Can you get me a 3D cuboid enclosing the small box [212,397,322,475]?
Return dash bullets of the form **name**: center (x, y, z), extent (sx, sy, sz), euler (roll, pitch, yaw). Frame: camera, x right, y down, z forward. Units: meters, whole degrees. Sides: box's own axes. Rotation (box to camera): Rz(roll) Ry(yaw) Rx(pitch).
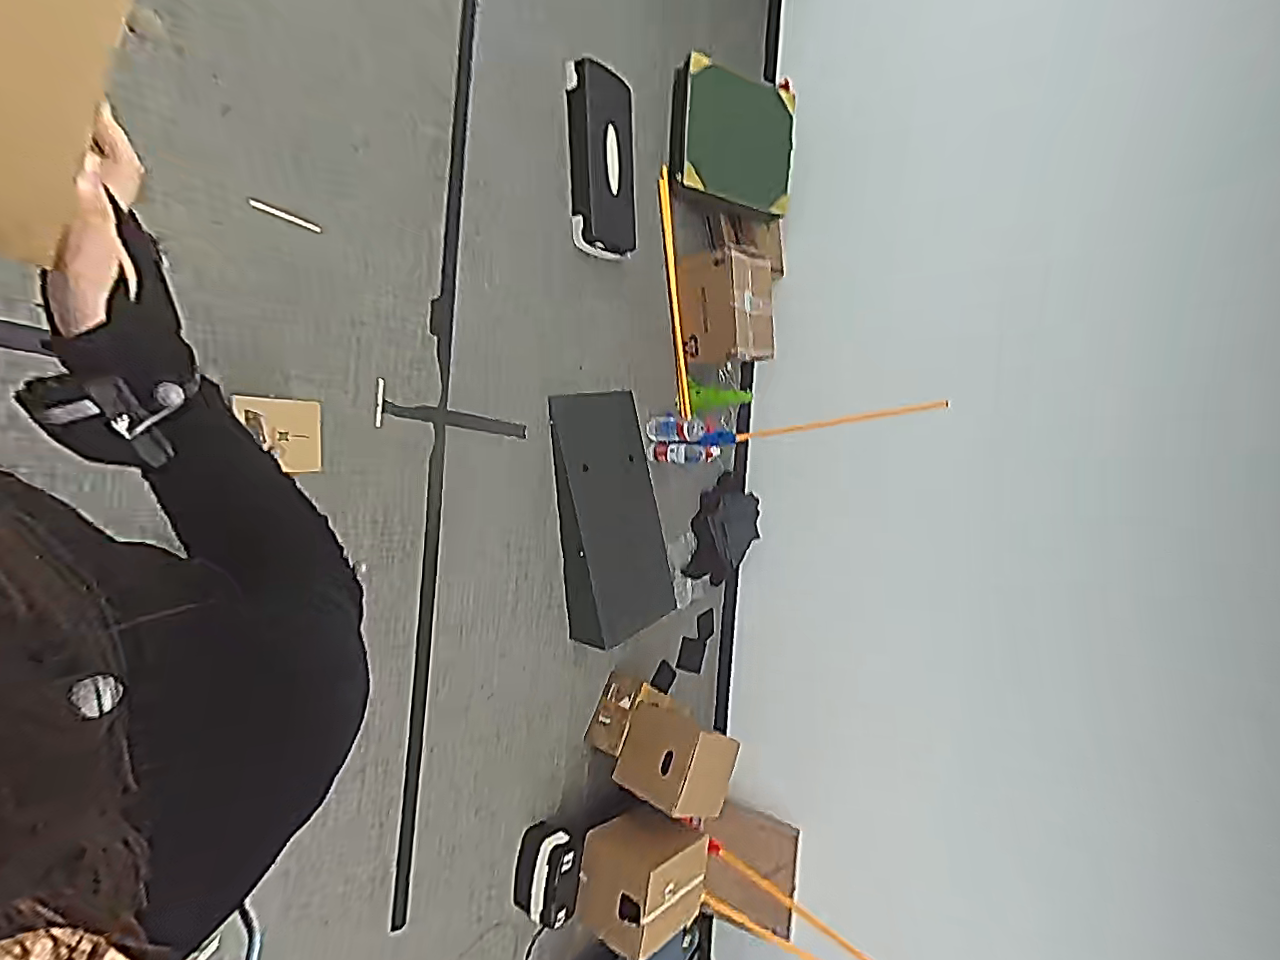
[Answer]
- **small box**: center (-0.861, -0.097, 1.245), extent (0.179, 0.176, 0.168), euler (-3, 96, -52)
